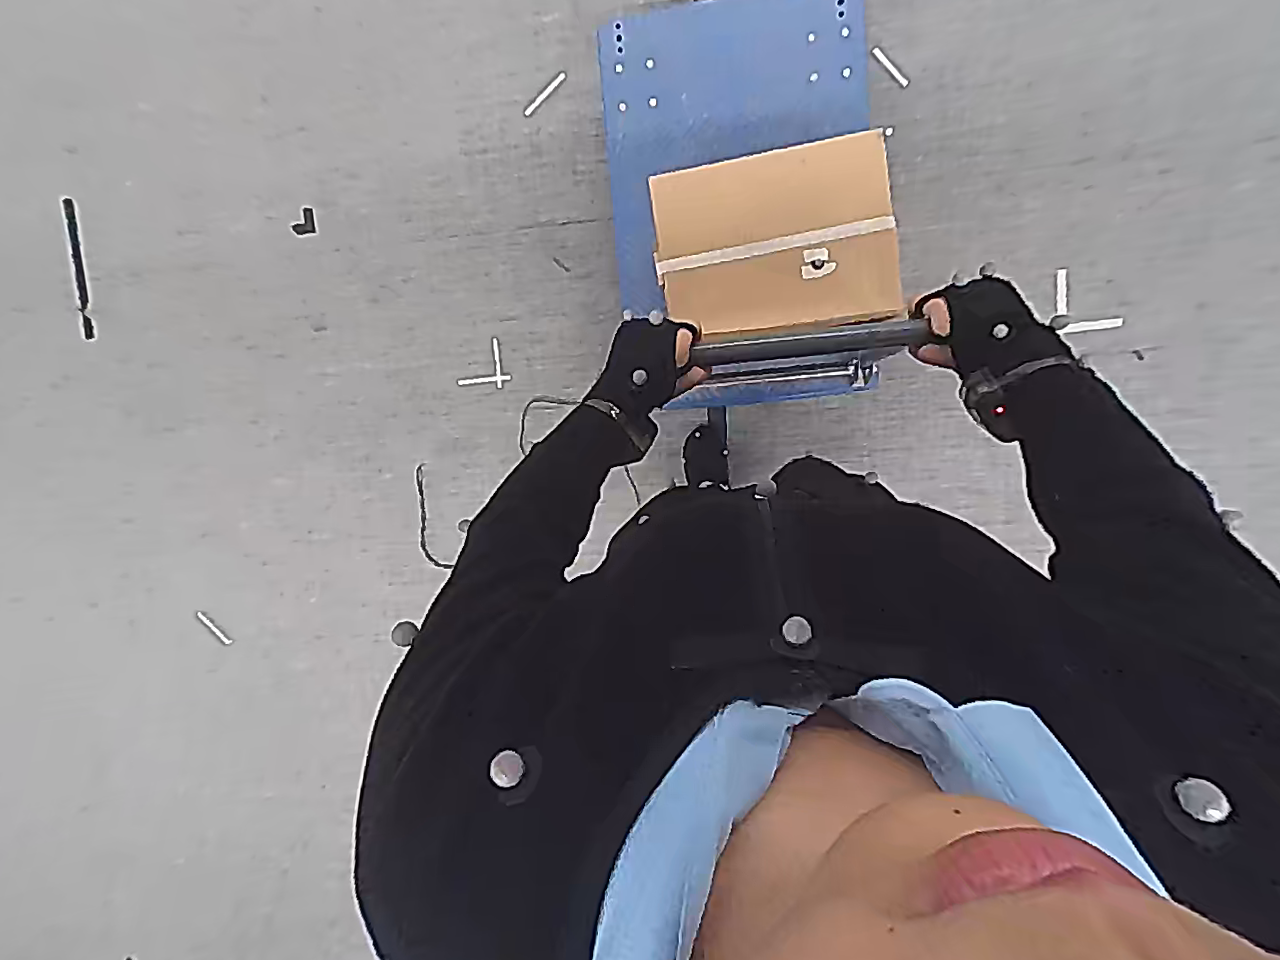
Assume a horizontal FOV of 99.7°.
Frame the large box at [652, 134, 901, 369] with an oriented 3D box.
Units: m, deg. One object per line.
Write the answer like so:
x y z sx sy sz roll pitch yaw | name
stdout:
0.252 -0.426 1.105 0.408 0.320 0.320 -9 96 6 | large box
